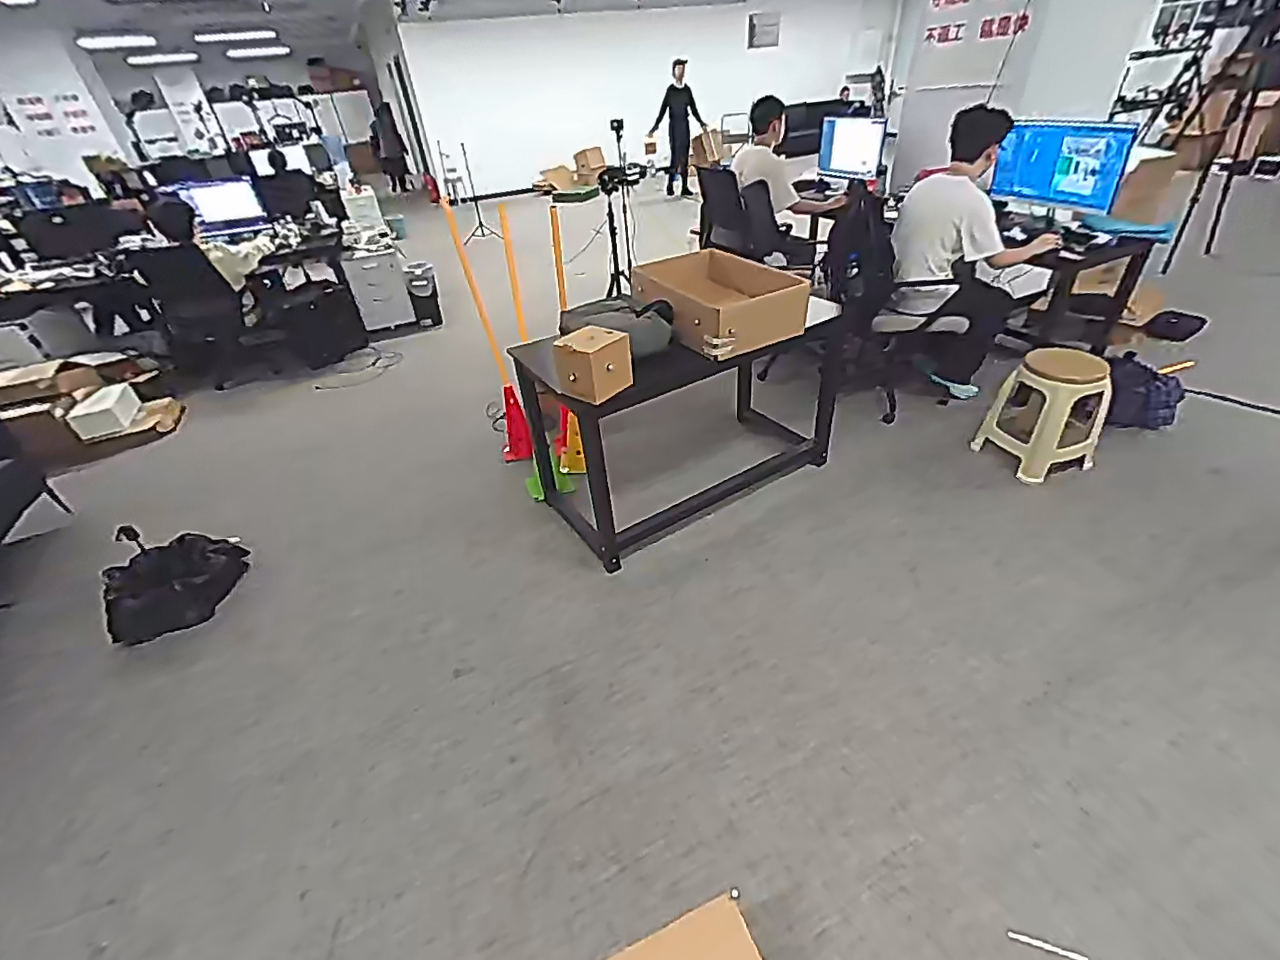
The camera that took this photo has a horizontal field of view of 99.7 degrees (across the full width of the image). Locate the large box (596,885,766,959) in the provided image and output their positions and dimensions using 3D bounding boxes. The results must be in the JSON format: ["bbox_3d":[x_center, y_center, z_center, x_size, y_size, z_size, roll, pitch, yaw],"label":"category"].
[{"bbox_3d":[0.059,1.014,0.928,0.408,0.320,0.320,-18,38,-15],"label":"large box"}]
